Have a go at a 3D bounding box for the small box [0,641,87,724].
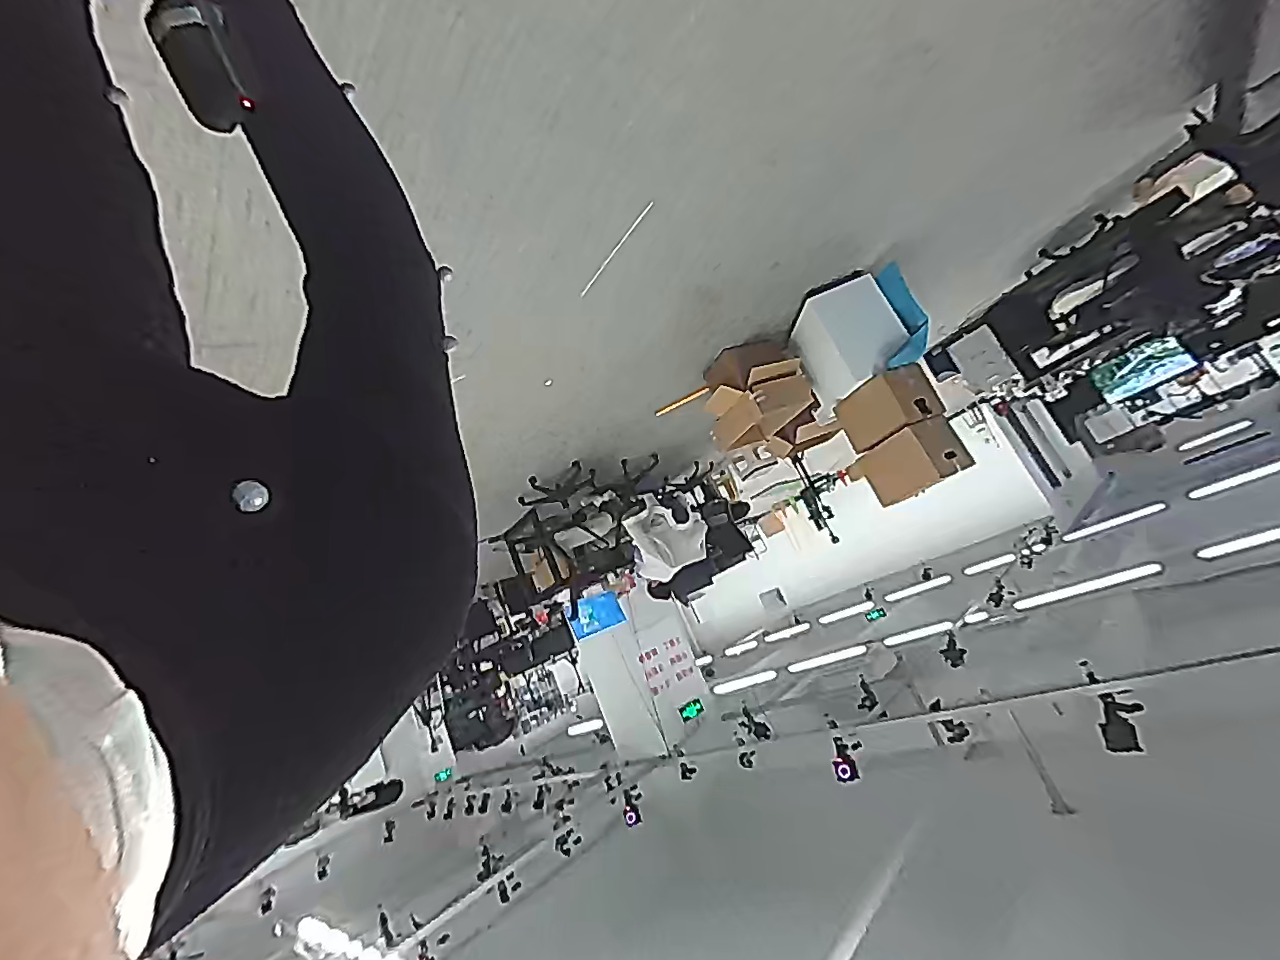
[{"bbox_3d":[-1.566,0.537,1.390,0.179,0.176,0.168,-12,161,-43],"label":"small box"}]
